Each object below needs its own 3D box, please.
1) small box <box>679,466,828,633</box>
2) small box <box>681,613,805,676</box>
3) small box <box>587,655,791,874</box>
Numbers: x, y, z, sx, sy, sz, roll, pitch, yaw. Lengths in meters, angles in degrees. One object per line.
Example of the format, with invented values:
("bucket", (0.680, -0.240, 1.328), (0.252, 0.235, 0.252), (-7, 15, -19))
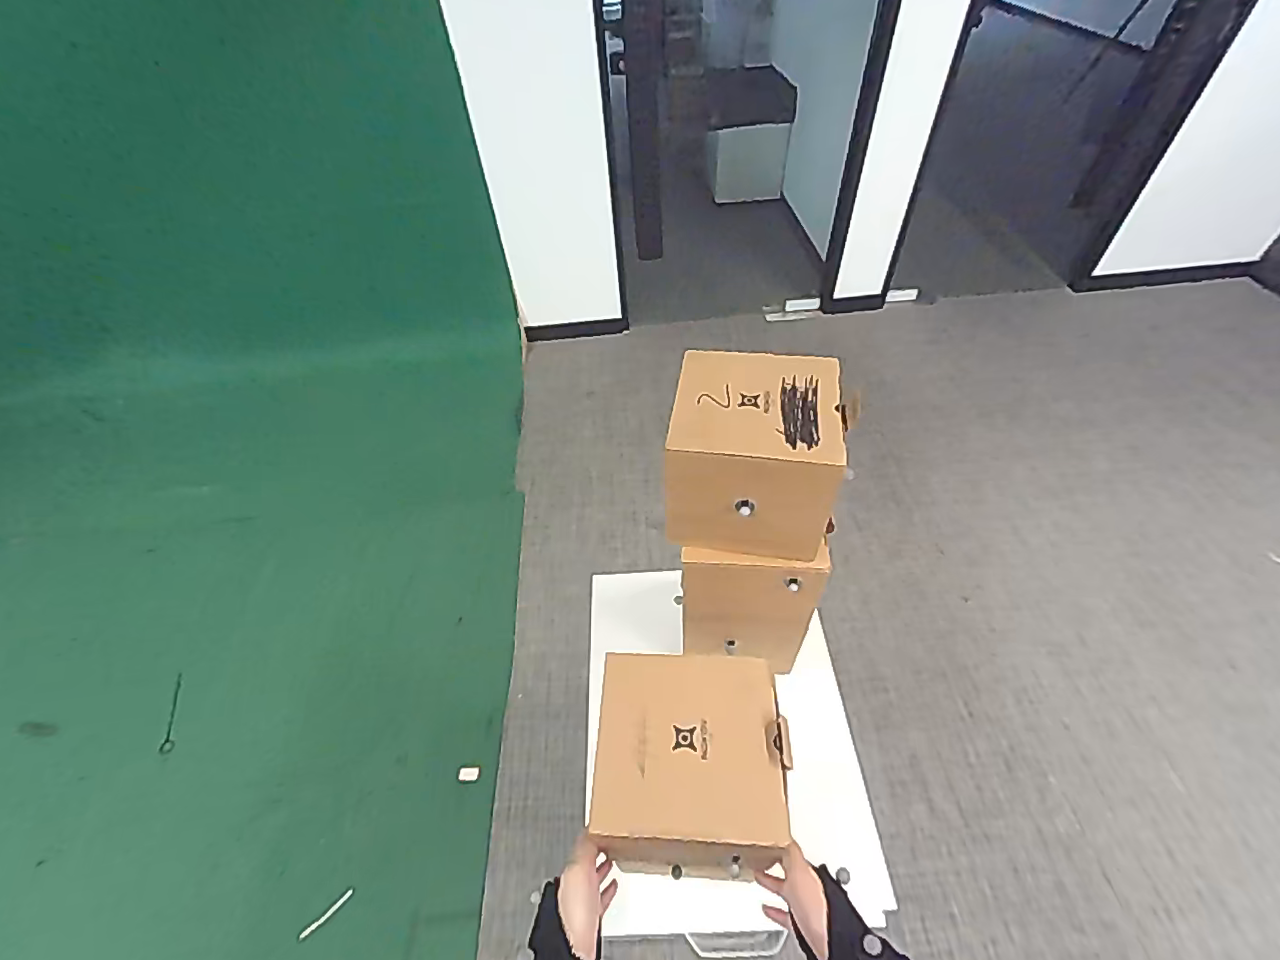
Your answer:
("small box", (0.145, 0.098, 0.745), (0.179, 0.176, 0.168), (2, 49, 6))
("small box", (0.159, 0.203, 0.869), (0.179, 0.176, 0.168), (2, 49, 6))
("small box", (0.049, 0.302, 0.570), (0.179, 0.176, 0.168), (0, 47, 4))
